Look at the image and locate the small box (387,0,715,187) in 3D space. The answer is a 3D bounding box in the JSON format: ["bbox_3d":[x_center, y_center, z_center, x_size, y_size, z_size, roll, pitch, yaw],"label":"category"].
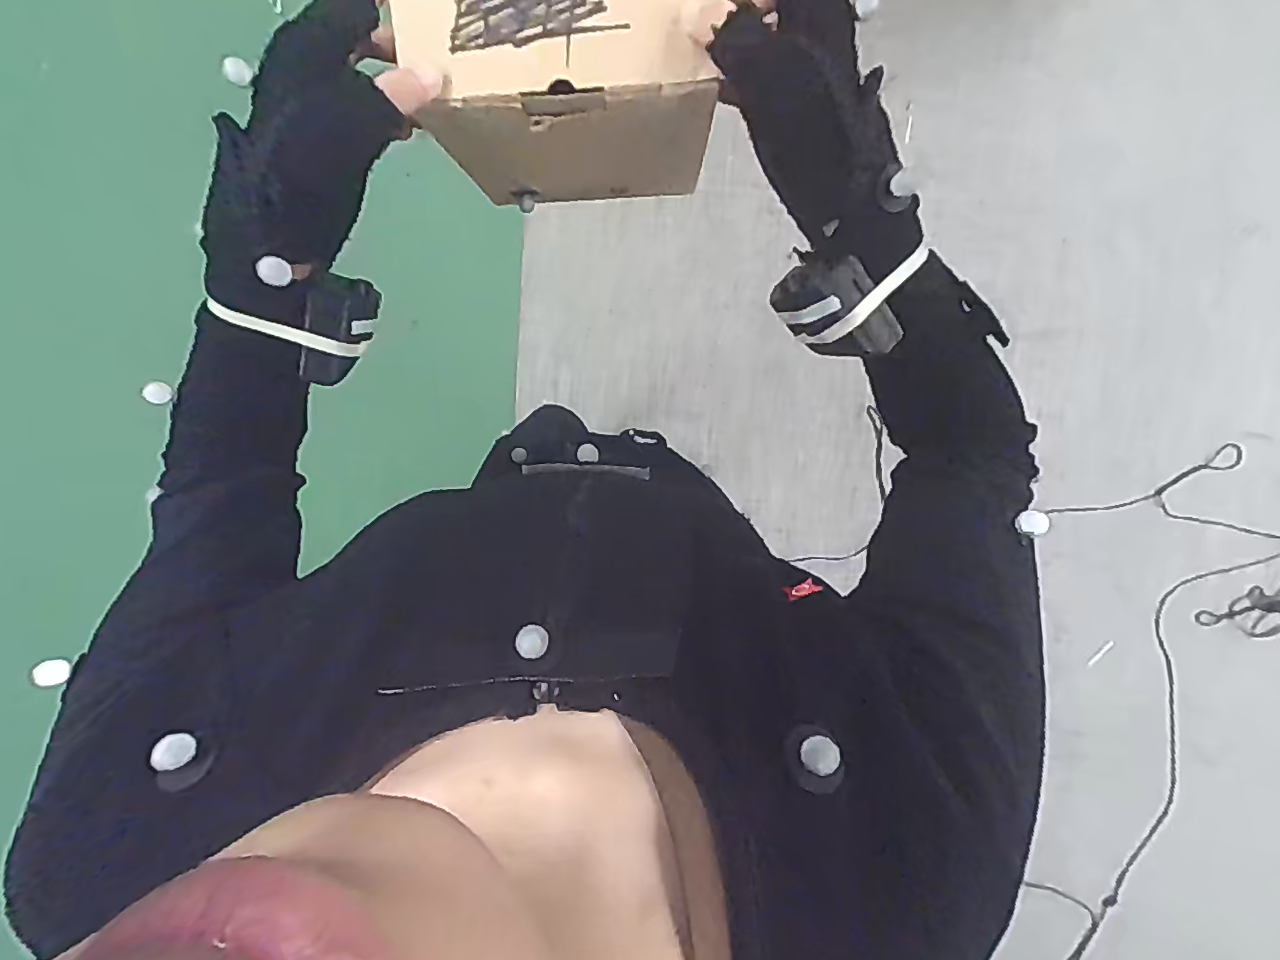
[{"bbox_3d":[-0.043,-0.299,0.336,0.168,0.176,0.179,-2,100,1],"label":"small box"}]
